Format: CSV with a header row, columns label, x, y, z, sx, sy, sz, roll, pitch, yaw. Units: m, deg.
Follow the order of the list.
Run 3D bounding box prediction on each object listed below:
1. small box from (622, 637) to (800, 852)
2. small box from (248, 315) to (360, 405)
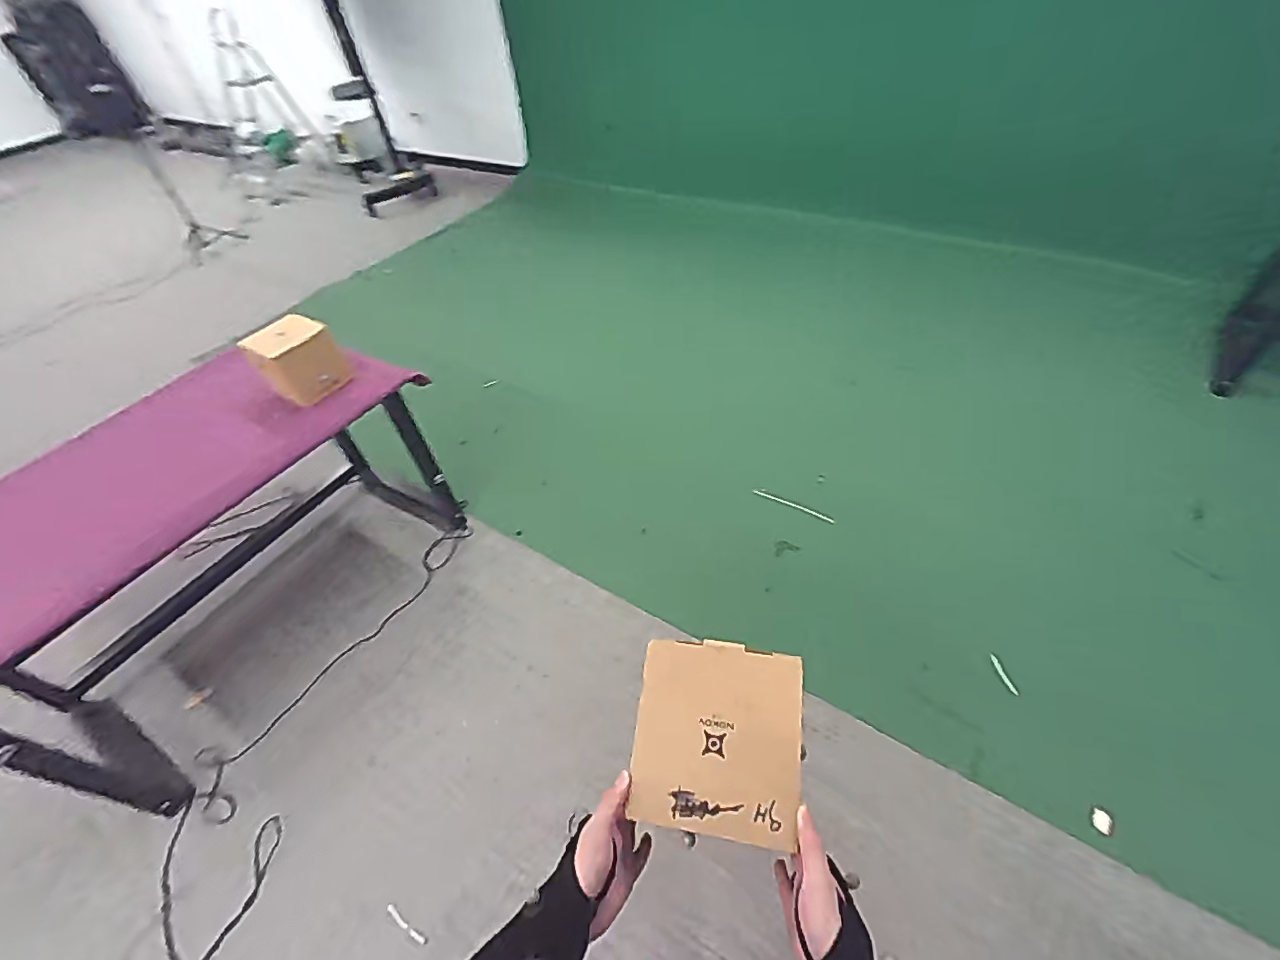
label,x,y,z,sx,sy,sz,roll,pitch,yaw
small box,0.086,0.293,0.614,0.168,0.176,0.179,3,63,12
small box,-0.934,-0.334,1.514,0.179,0.176,0.168,24,55,27
